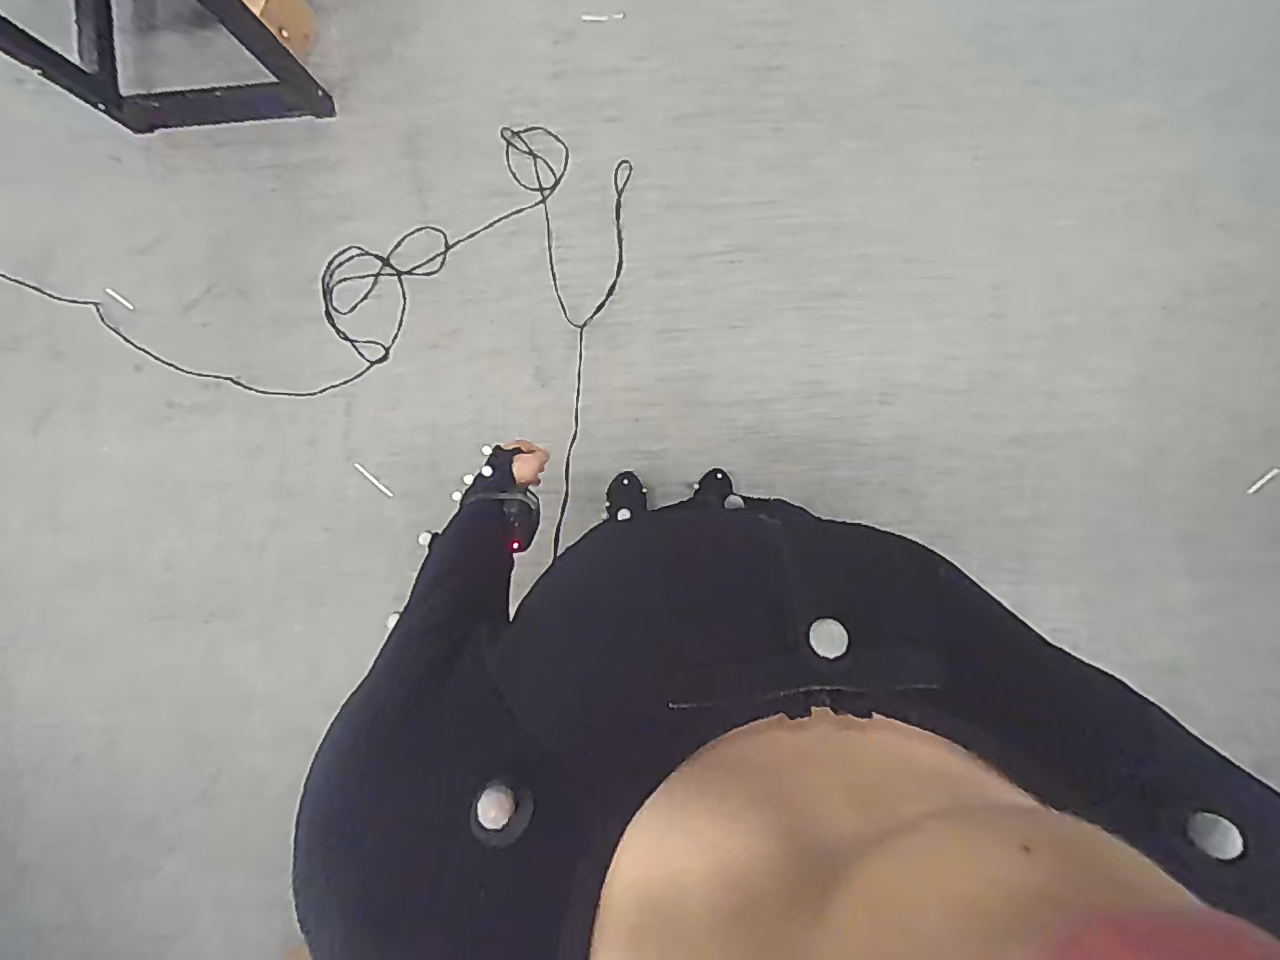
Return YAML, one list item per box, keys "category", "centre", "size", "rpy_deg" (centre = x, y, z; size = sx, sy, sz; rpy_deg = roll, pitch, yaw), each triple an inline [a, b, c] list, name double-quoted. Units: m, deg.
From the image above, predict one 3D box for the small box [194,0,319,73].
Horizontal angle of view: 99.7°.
- category: "small box"
  centre: [-0.976, -1.203, 1.390]
  size: [0.179, 0.176, 0.168]
  rpy_deg: [31, 94, 1]
